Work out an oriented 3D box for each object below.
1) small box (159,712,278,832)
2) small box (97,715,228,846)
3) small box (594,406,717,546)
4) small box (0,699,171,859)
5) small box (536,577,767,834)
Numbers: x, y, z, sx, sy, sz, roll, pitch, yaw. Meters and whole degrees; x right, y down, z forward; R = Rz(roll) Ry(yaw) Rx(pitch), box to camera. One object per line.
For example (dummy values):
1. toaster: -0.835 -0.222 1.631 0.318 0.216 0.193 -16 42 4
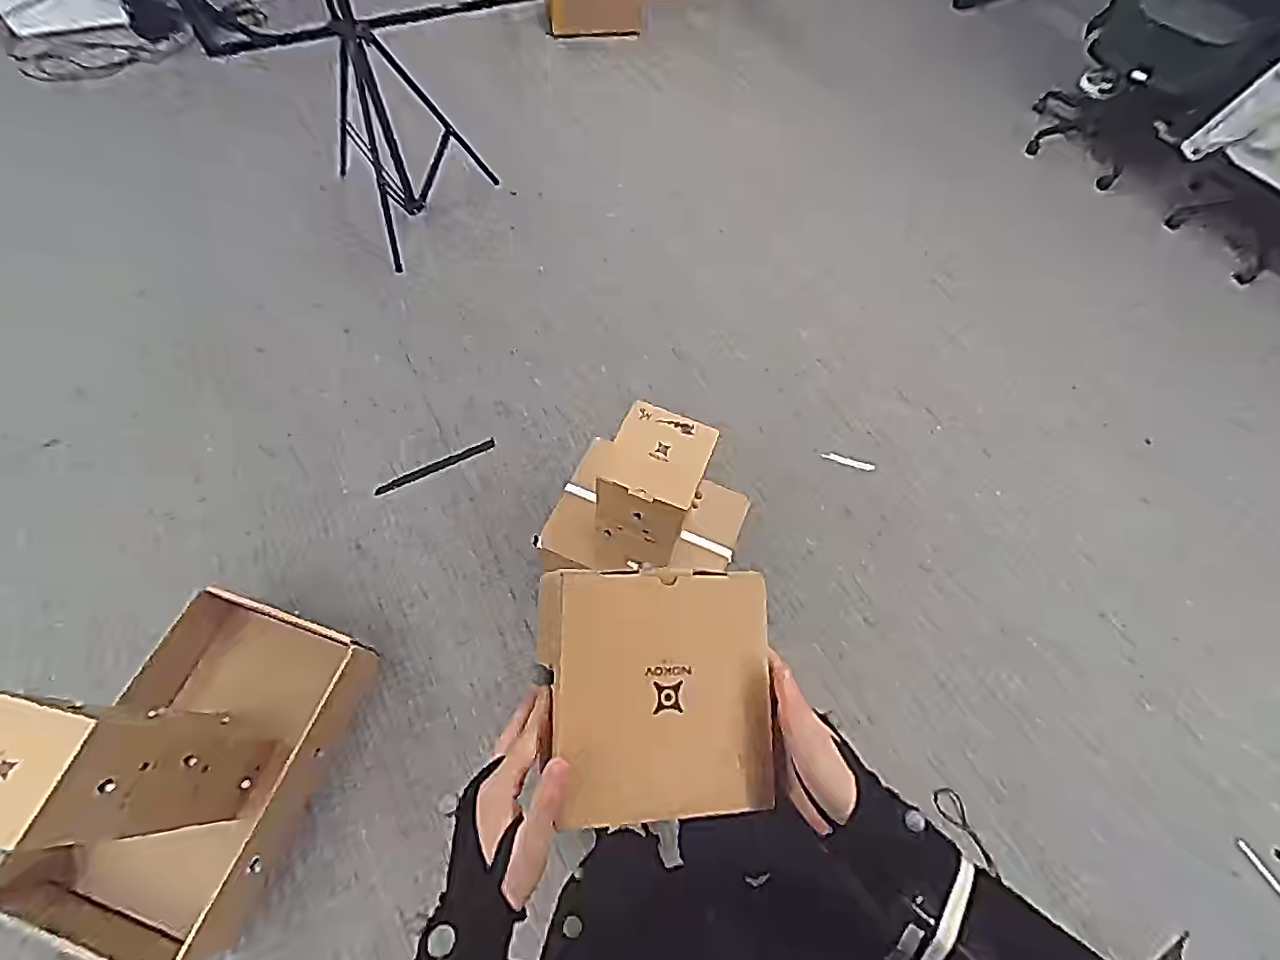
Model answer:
1. small box: -0.907 0.598 1.114 0.179 0.176 0.168 18 63 5
2. small box: -0.901 0.528 0.968 0.179 0.176 0.168 13 61 4
3. small box: 0.027 0.000 0.999 0.168 0.176 0.179 22 64 6
4. small box: -0.888 0.448 0.823 0.179 0.176 0.168 14 61 3
5. small box: -0.002 0.178 0.480 0.168 0.176 0.179 3 77 -14
